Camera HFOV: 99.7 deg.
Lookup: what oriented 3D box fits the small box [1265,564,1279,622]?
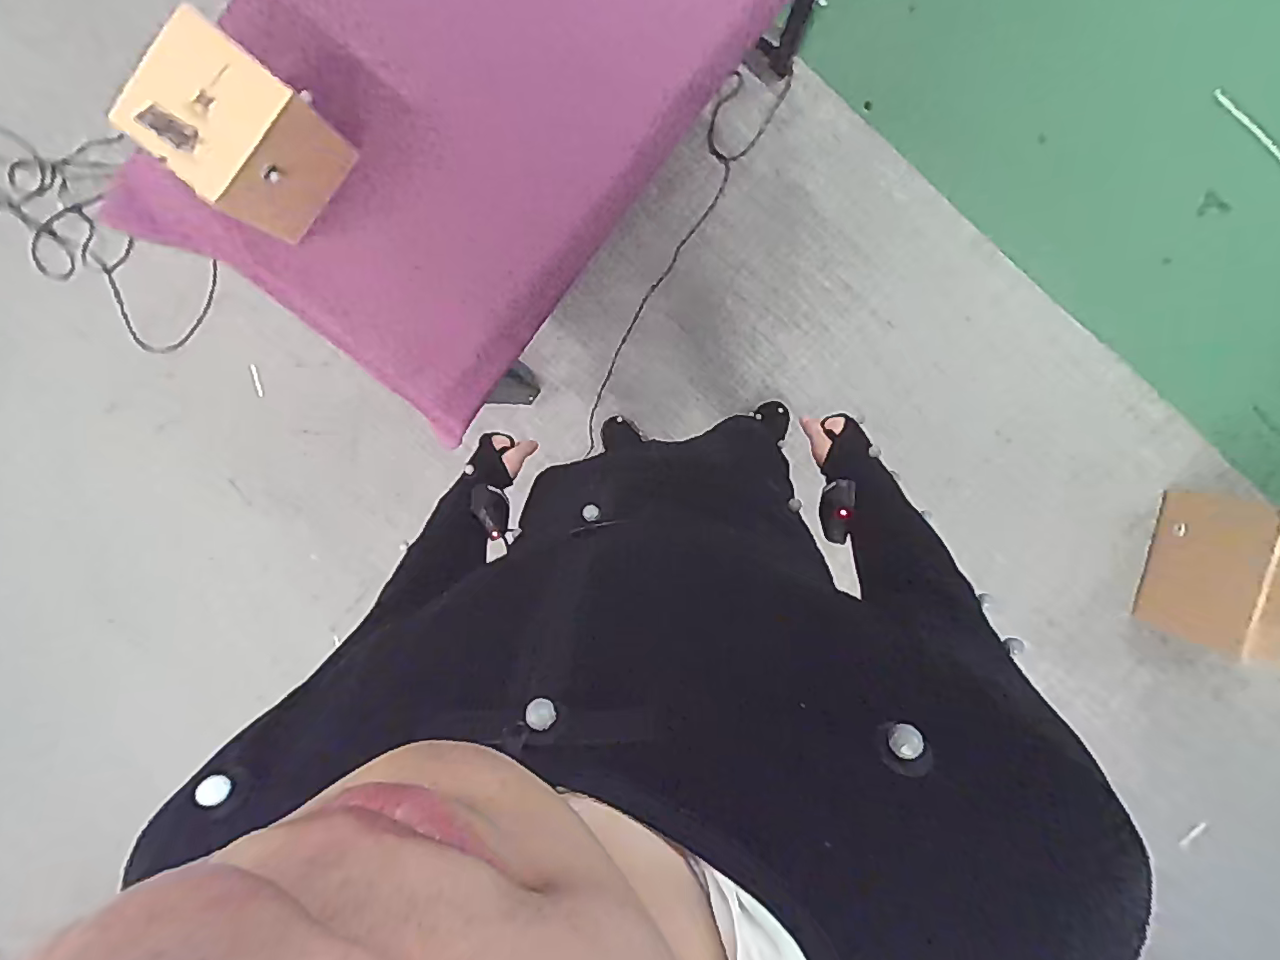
[{"bbox_3d":[1.607,0.275,1.228,0.168,0.176,0.179,9,97,0],"label":"small box"}]

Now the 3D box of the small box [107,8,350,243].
[{"bbox_3d":[-0.545,-0.465,0.745,0.168,0.176,0.179,39,96,-5],"label":"small box"}]
